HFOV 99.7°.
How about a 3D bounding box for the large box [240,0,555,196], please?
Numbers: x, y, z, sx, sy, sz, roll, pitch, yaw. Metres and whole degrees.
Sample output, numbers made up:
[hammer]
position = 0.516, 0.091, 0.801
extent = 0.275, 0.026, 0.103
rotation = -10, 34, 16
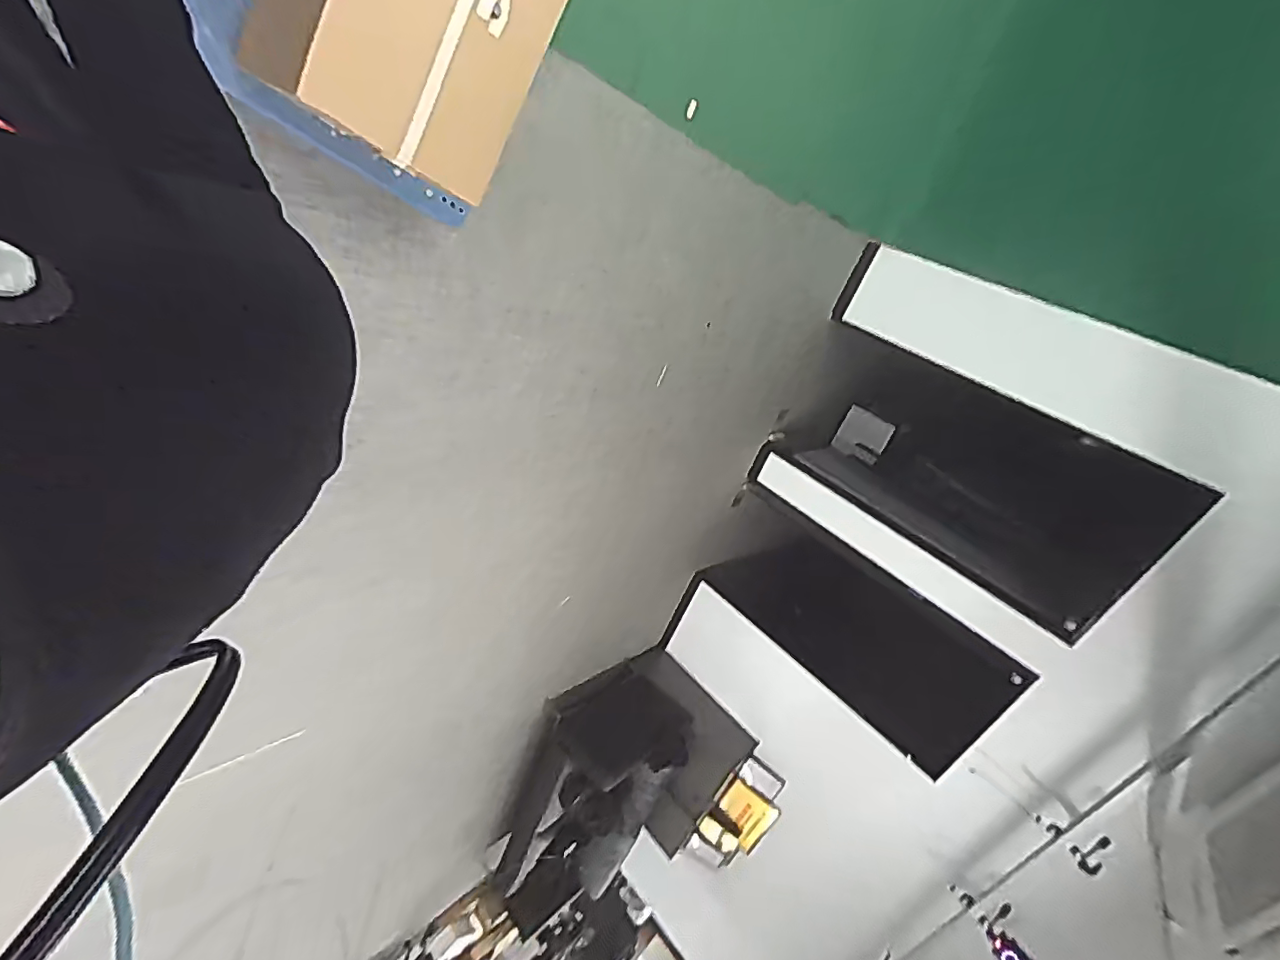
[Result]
[large box]
position = -0.397, -0.773, 0.896
extent = 0.320, 0.320, 0.408
rotation = 8, 115, -56
